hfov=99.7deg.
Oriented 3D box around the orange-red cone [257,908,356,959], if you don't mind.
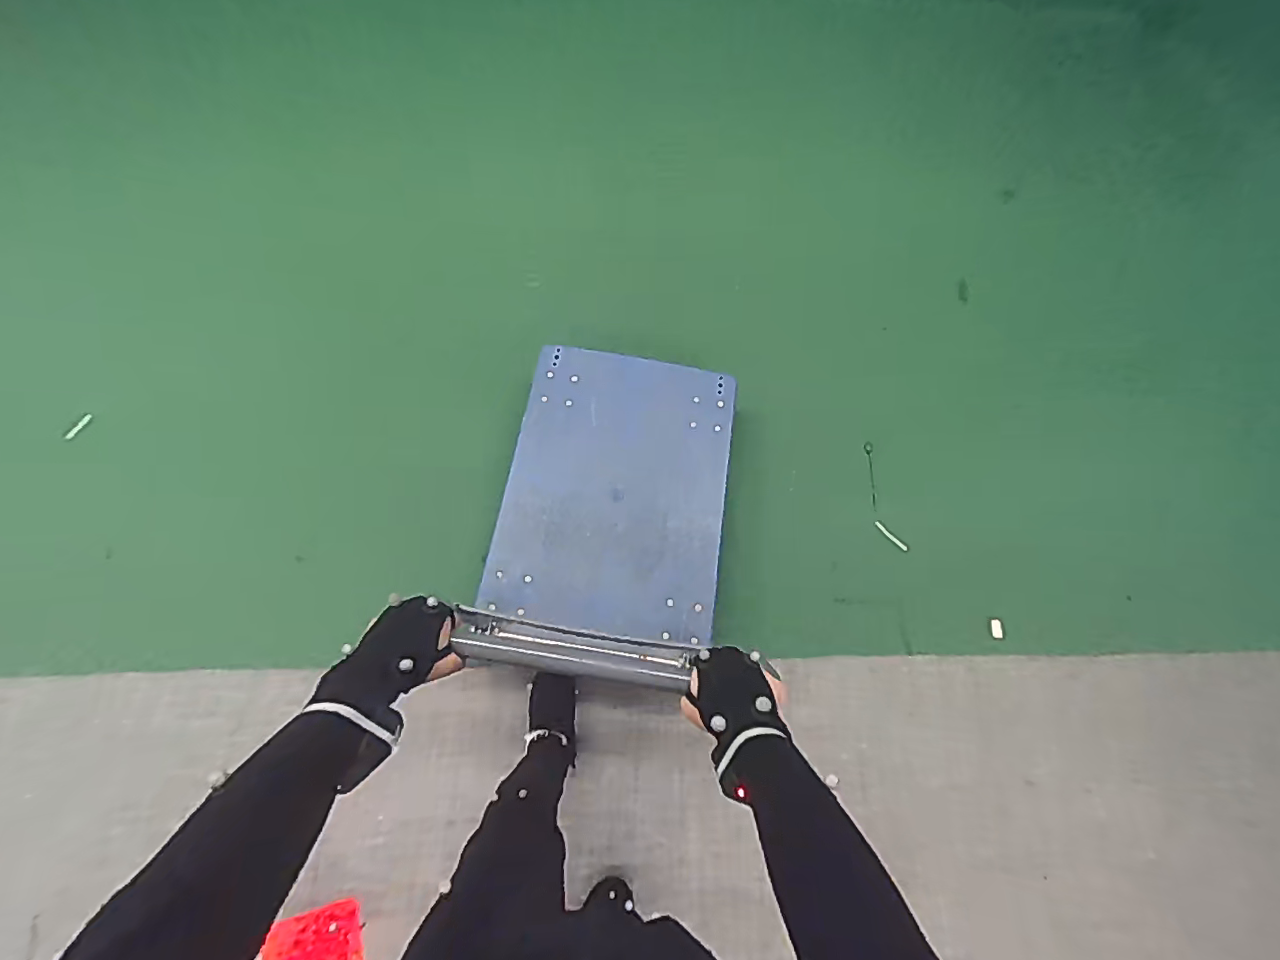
[{"bbox_3d":[-0.690,0.978,0.980,0.199,0.360,0.198,-14,69,-8],"label":"orange-red cone"}]
